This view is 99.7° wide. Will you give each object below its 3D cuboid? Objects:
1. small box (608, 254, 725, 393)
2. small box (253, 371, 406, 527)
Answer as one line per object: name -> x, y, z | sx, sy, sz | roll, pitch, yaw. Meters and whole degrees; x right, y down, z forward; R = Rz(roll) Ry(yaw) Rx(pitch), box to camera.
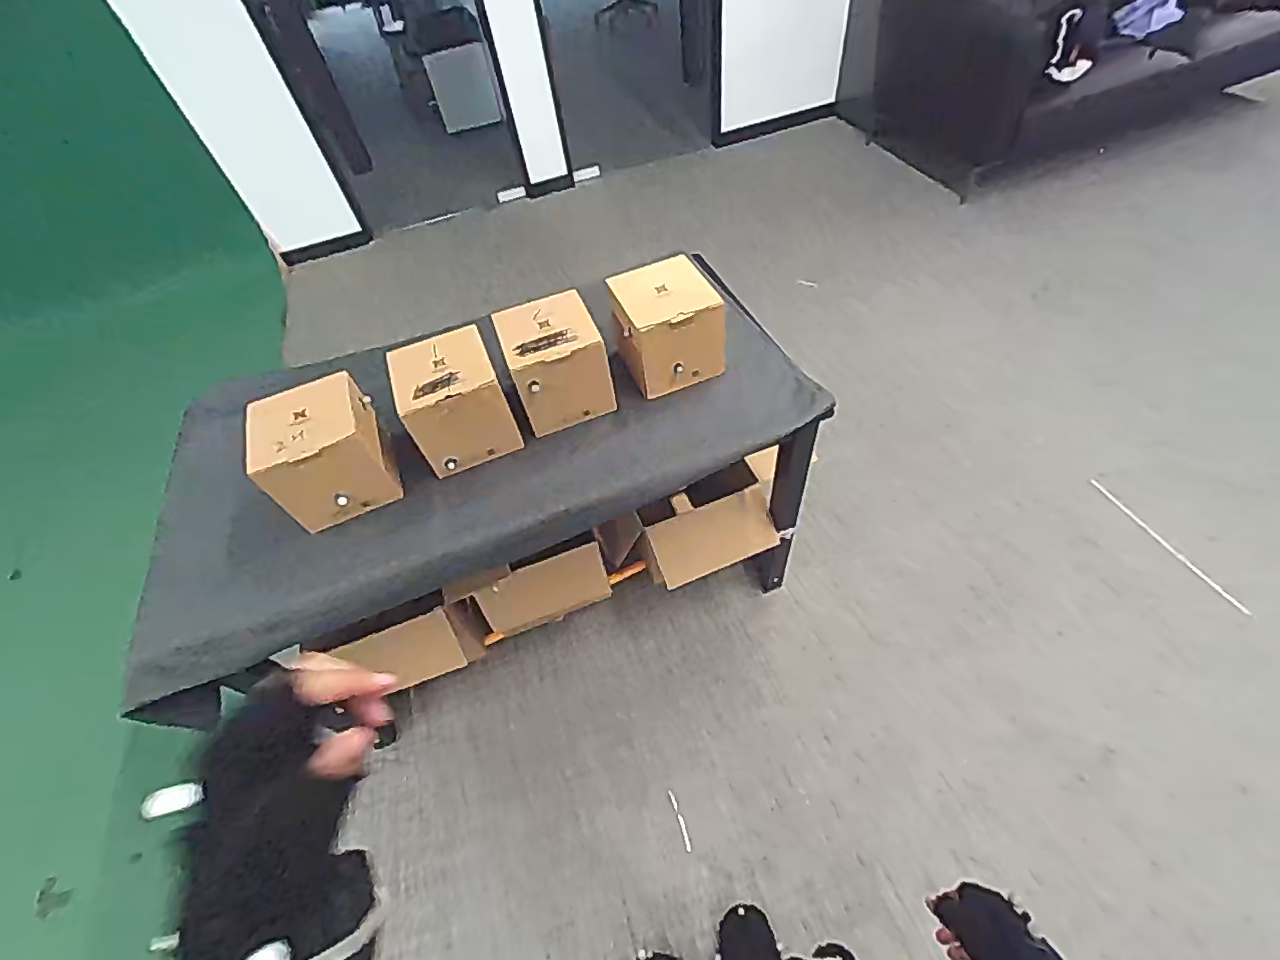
small box -> 0.051, -0.299, 1.043 | 0.168, 0.176, 0.179 | -21, 54, -8
small box -> -0.531, -0.051, 0.935 | 0.168, 0.176, 0.179 | -24, 54, -10
